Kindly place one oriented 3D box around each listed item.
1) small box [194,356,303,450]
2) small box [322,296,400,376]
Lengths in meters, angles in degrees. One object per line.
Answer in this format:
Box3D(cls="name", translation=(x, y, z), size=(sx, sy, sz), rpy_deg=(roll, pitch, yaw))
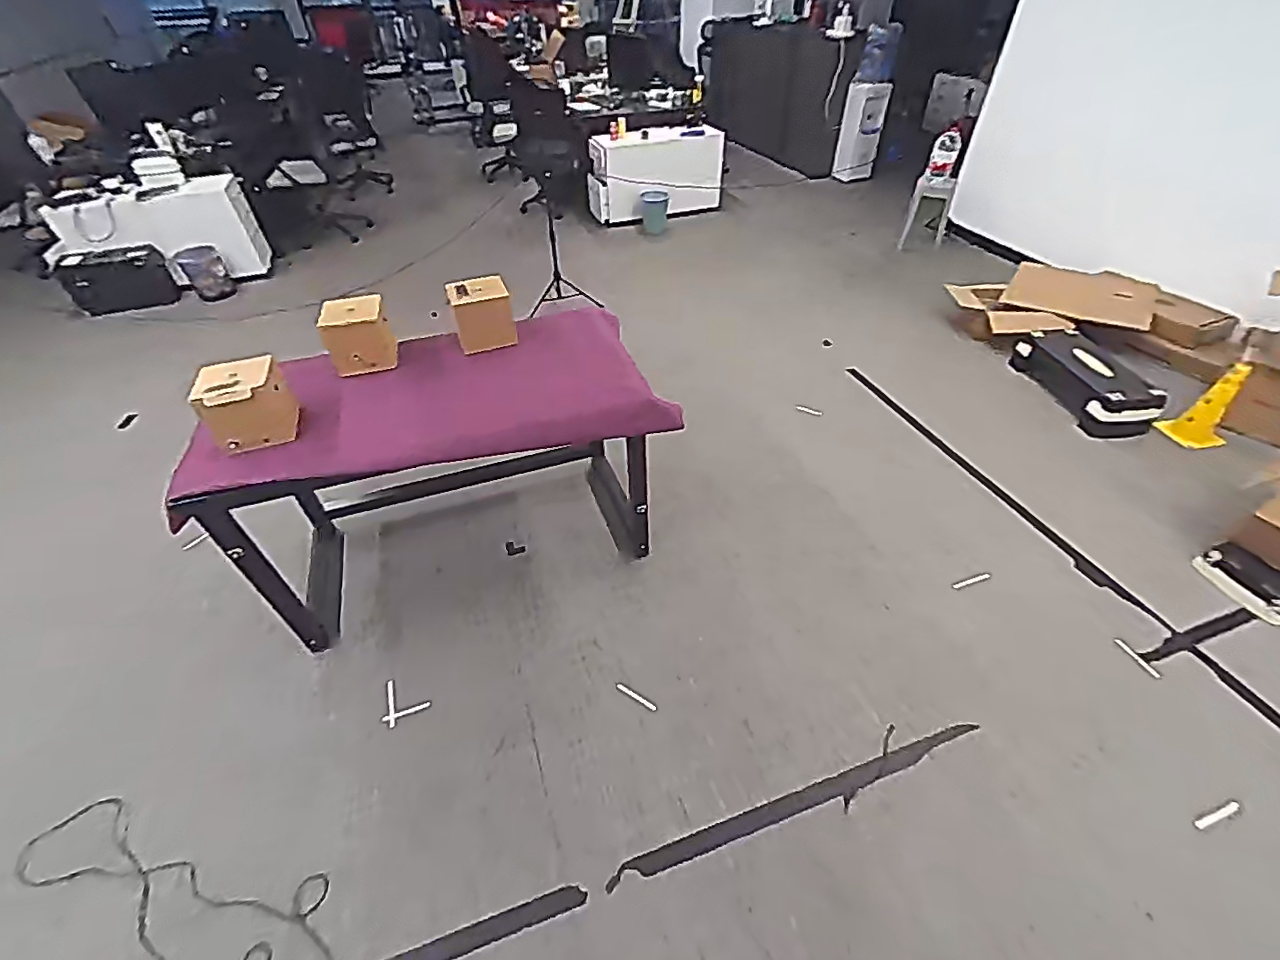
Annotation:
Box3D(cls="small box", translation=(-1.009, -0.195, 1.411), size=(0.168, 0.176, 0.179), rpy_deg=(-15, 44, -14))
Box3D(cls="small box", translation=(-0.850, -0.442, 1.665), size=(0.168, 0.176, 0.179), rpy_deg=(-12, 45, -12))
